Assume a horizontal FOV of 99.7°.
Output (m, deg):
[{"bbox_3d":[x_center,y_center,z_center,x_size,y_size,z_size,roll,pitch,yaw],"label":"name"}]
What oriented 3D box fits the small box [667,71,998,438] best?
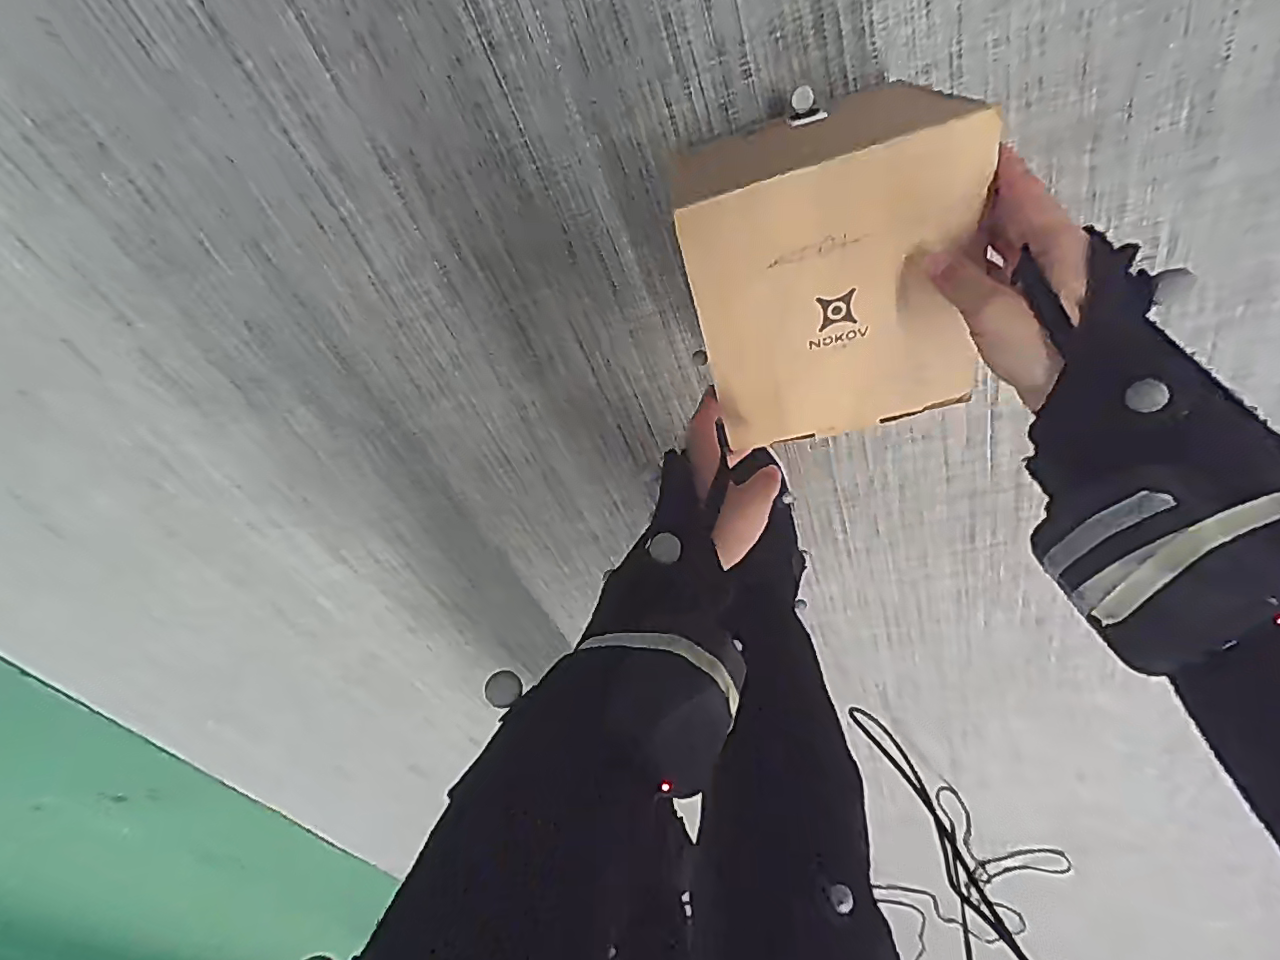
[{"bbox_3d":[0.120,-0.160,0.388,0.168,0.176,0.179,-12,128,12],"label":"small box"}]
